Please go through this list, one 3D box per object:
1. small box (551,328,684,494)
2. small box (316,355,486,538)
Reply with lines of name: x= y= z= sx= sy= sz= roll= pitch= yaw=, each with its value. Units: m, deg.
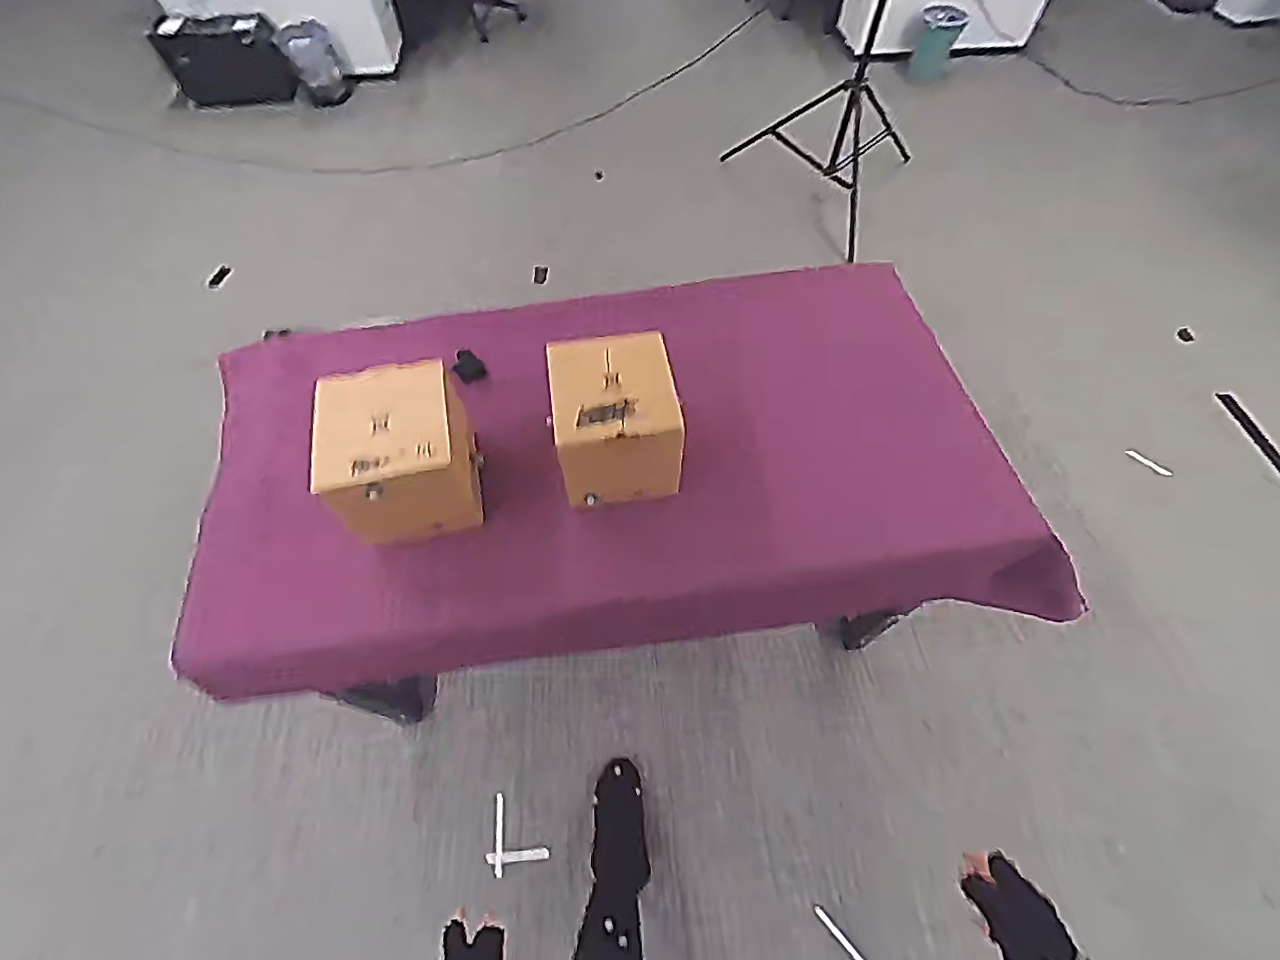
small box: x=-0.034 y=-0.092 z=0.790 sx=0.168 sy=0.176 sz=0.179 roll=-7 pitch=58 yaw=-5
small box: x=-0.323 y=-0.044 z=0.760 sx=0.168 sy=0.176 sz=0.179 roll=-12 pitch=59 yaw=-7
